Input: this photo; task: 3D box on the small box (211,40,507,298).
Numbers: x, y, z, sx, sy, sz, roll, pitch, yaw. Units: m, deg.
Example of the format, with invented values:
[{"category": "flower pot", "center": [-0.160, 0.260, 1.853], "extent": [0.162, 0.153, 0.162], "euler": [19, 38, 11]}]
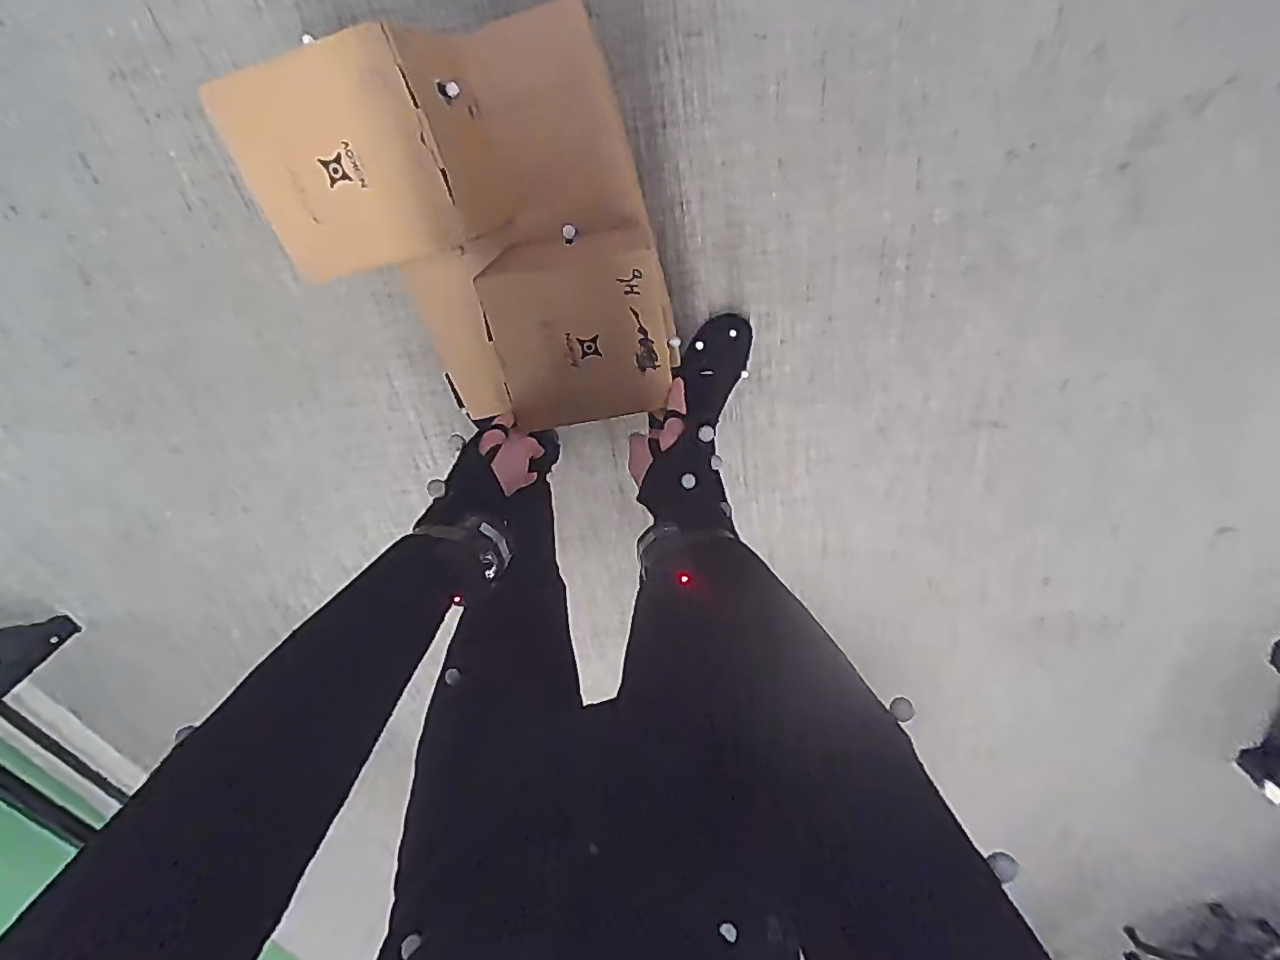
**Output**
[{"category": "small box", "center": [-0.249, -0.302, 0.539], "extent": [0.179, 0.176, 0.168], "euler": [-11, 120, 12]}]
